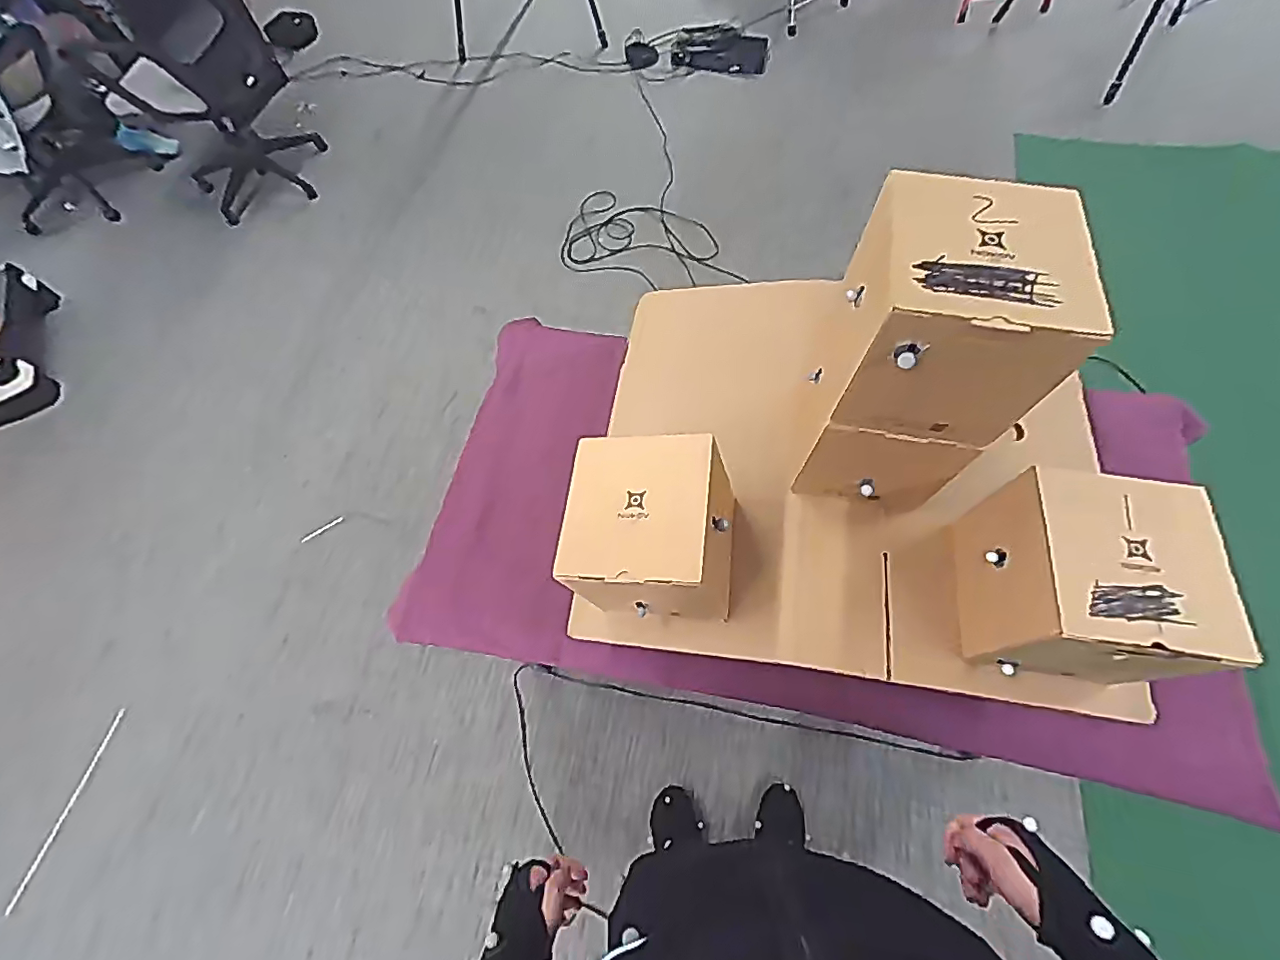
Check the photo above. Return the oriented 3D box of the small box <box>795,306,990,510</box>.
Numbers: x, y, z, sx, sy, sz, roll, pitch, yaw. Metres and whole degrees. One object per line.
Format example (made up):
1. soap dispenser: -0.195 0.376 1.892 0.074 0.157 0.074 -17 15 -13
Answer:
1. small box: 0.296 -0.083 0.671 0.168 0.176 0.179 9 65 5

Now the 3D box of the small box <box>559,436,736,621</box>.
1. small box: 0.022 0.063 0.658 0.168 0.176 0.179 -1 65 18

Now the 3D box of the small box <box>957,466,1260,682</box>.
1. small box: 0.468 0.109 0.578 0.168 0.176 0.179 8 64 5
